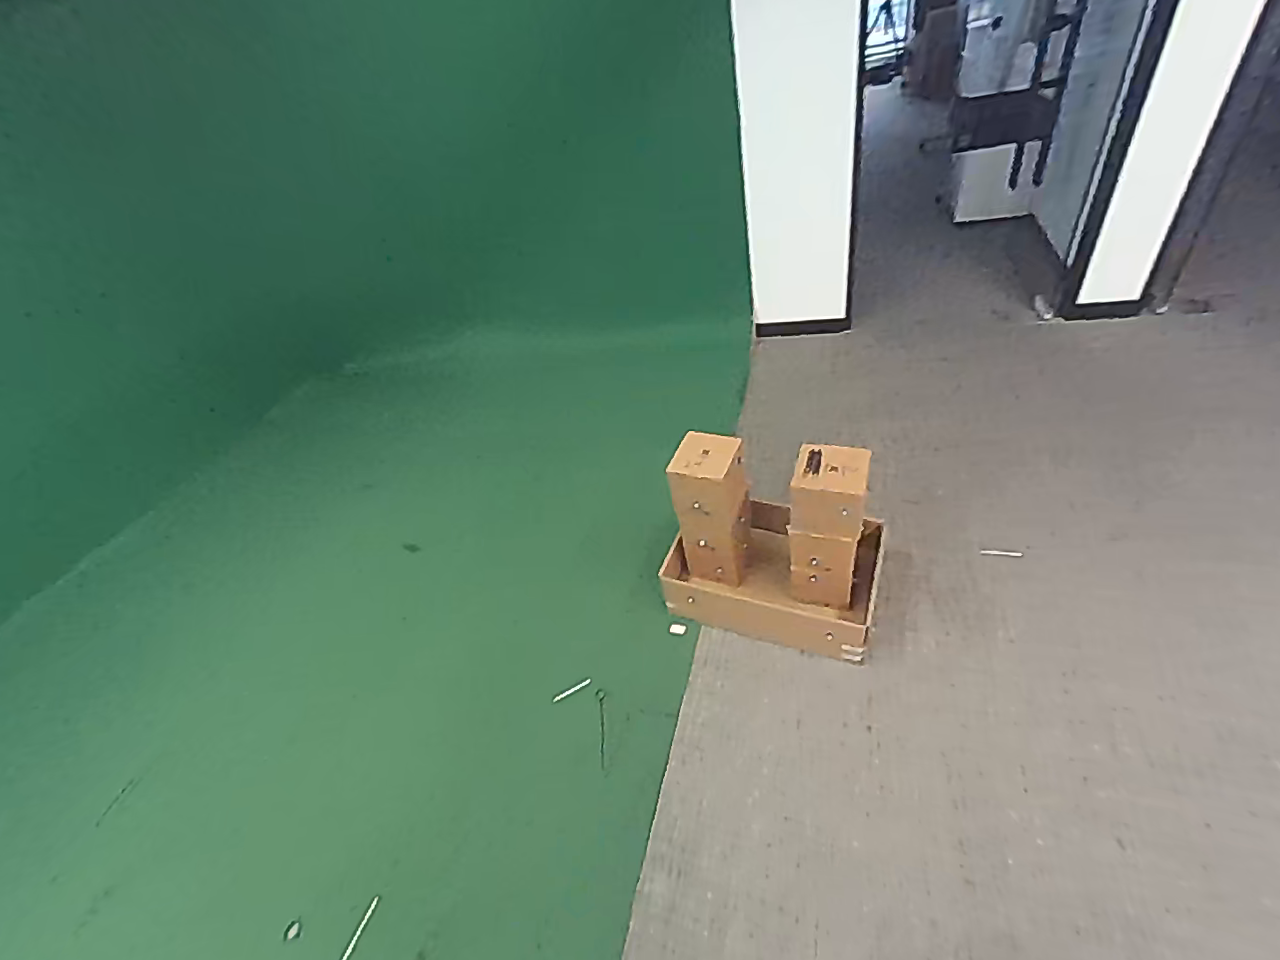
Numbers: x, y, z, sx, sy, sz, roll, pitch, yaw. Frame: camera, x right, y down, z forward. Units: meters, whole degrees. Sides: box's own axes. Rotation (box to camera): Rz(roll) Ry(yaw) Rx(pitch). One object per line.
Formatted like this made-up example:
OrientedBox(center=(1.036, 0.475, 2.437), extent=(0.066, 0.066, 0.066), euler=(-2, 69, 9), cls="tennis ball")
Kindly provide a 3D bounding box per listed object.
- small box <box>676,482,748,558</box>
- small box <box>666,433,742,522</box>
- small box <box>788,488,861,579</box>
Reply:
OrientedBox(center=(0.227, 0.109, 1.660), extent=(0.168, 0.176, 0.179), euler=(12, 50, 27), cls="small box")
OrientedBox(center=(0.190, -0.008, 1.550), extent=(0.168, 0.176, 0.179), euler=(10, 49, 26), cls="small box")
OrientedBox(center=(0.520, 0.149, 1.525), extent=(0.168, 0.176, 0.179), euler=(8, 47, 25), cls="small box")
